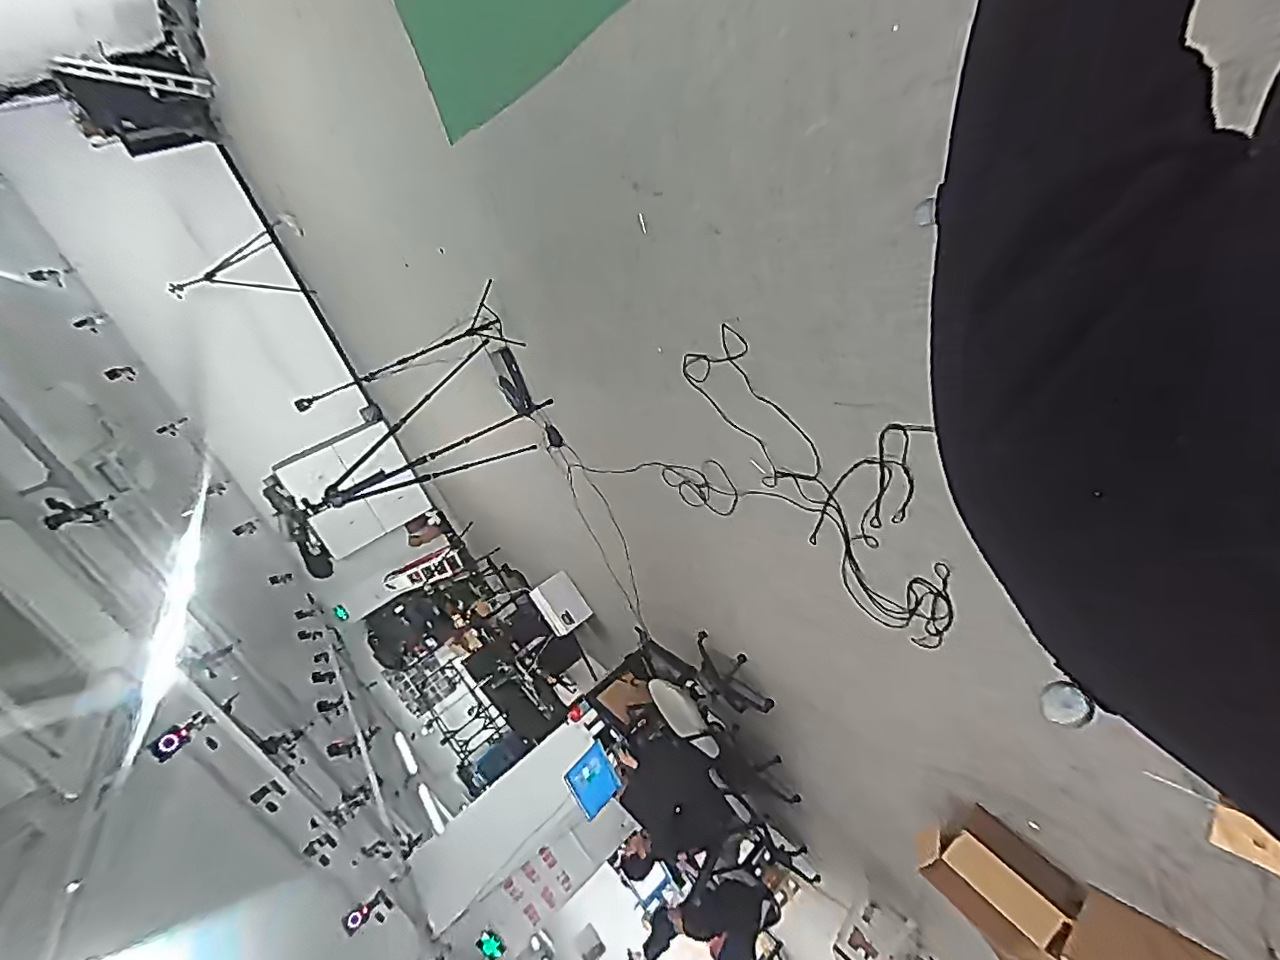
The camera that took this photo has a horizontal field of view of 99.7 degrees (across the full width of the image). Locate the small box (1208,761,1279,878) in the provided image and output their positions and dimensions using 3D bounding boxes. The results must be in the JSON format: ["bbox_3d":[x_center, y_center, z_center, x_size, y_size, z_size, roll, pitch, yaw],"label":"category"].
[{"bbox_3d":[1.603,0.873,1.385,0.168,0.176,0.179,14,130,52],"label":"small box"}]
